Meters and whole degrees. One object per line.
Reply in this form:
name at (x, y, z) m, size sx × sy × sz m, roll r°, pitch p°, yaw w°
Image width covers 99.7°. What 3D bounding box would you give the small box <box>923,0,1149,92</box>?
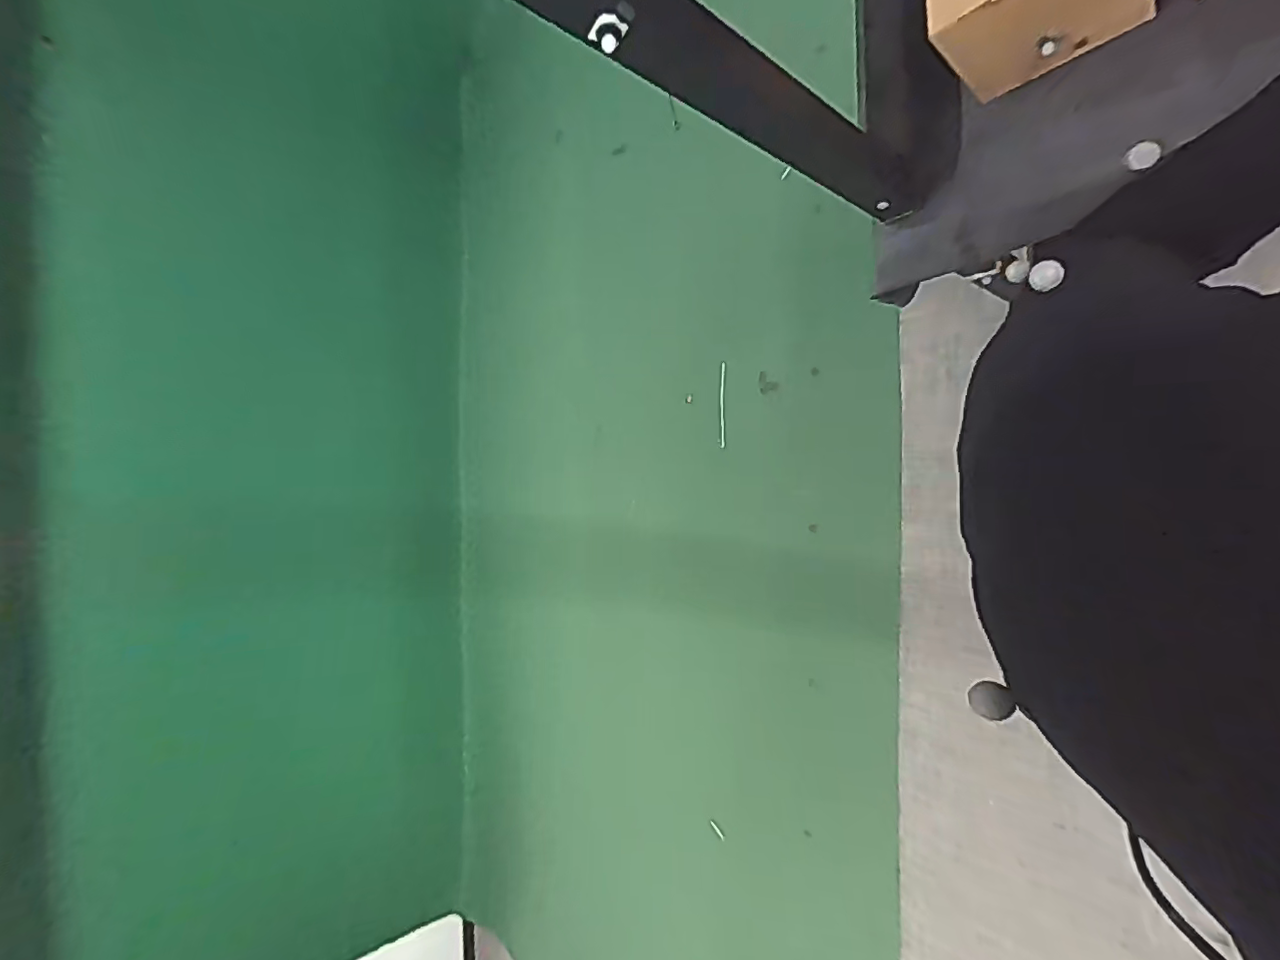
small box at (0.424, -0.577, 0.582) m, size 0.168 × 0.176 × 0.179 m, roll -3°, pitch 88°, yaw 51°
